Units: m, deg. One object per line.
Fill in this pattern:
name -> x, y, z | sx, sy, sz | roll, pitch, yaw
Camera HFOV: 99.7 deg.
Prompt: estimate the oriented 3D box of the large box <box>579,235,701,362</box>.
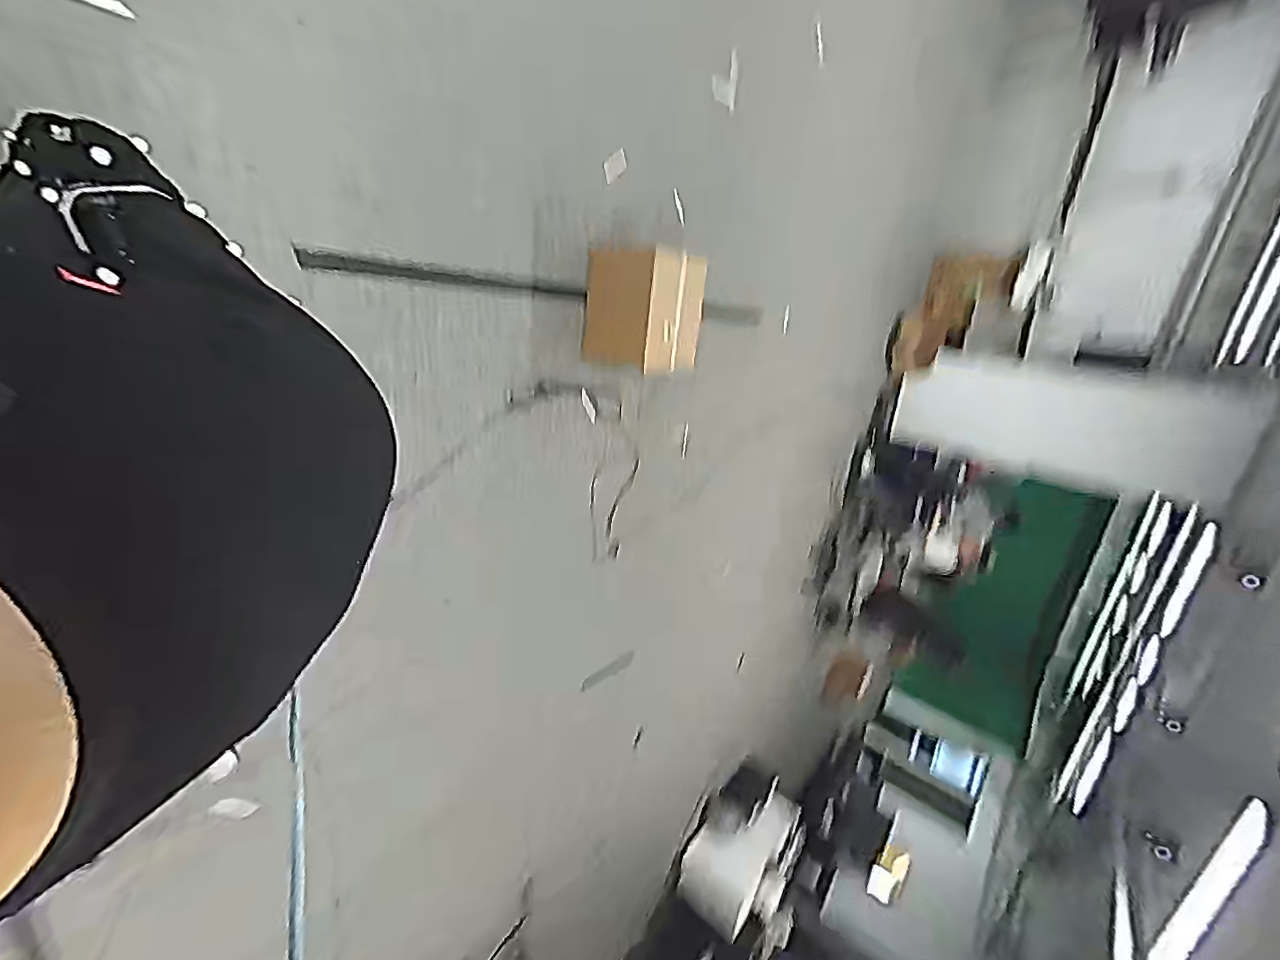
large box -> -0.006, -0.670, 2.001 | 0.320, 0.320, 0.408 | -16, 120, -48
